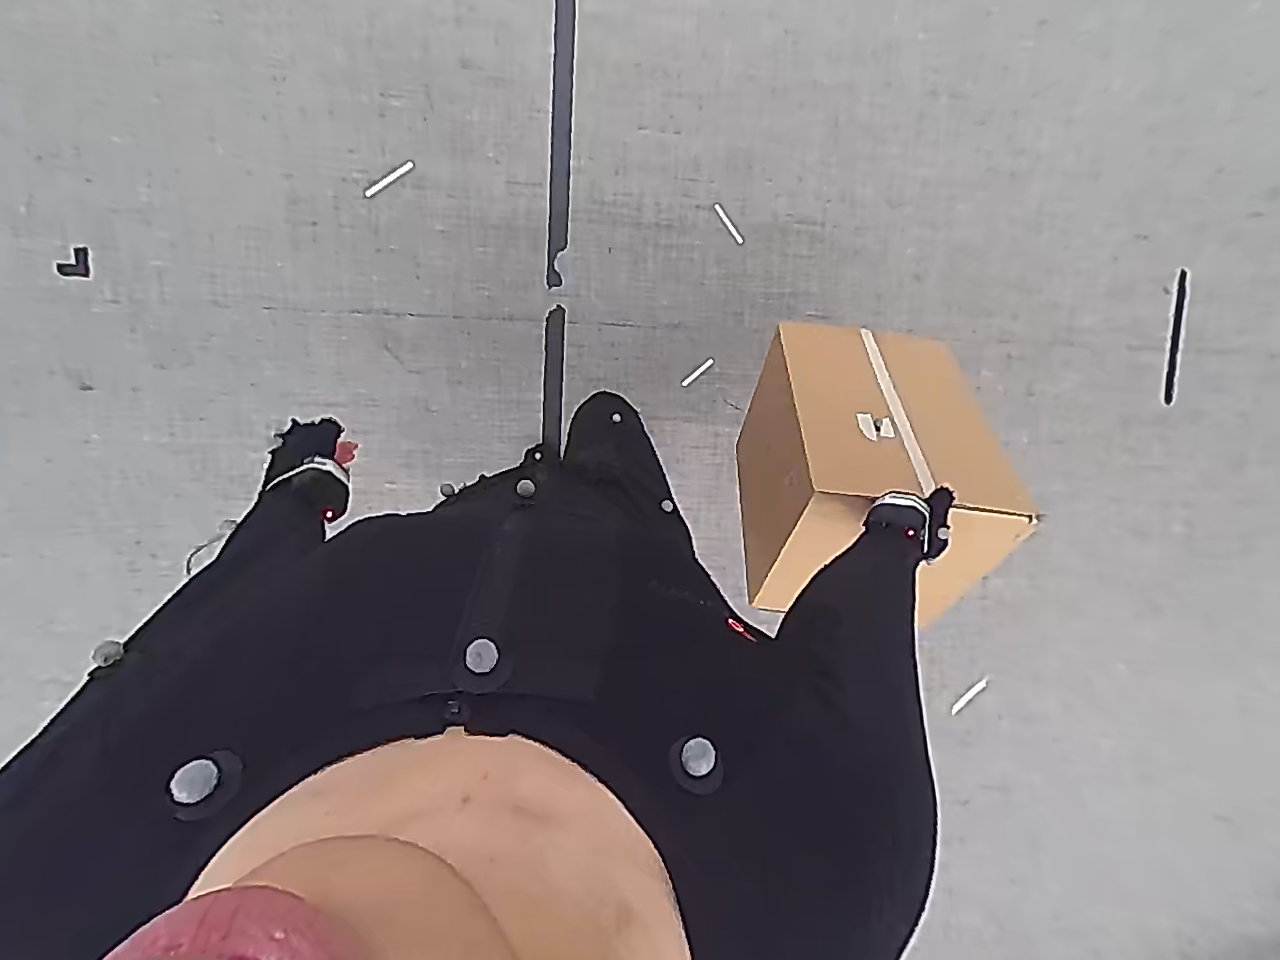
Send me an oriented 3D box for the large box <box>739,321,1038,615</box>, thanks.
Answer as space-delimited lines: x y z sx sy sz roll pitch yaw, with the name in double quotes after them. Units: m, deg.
0.378 -0.022 0.960 0.320 0.408 0.320 6 140 -3 "large box"
